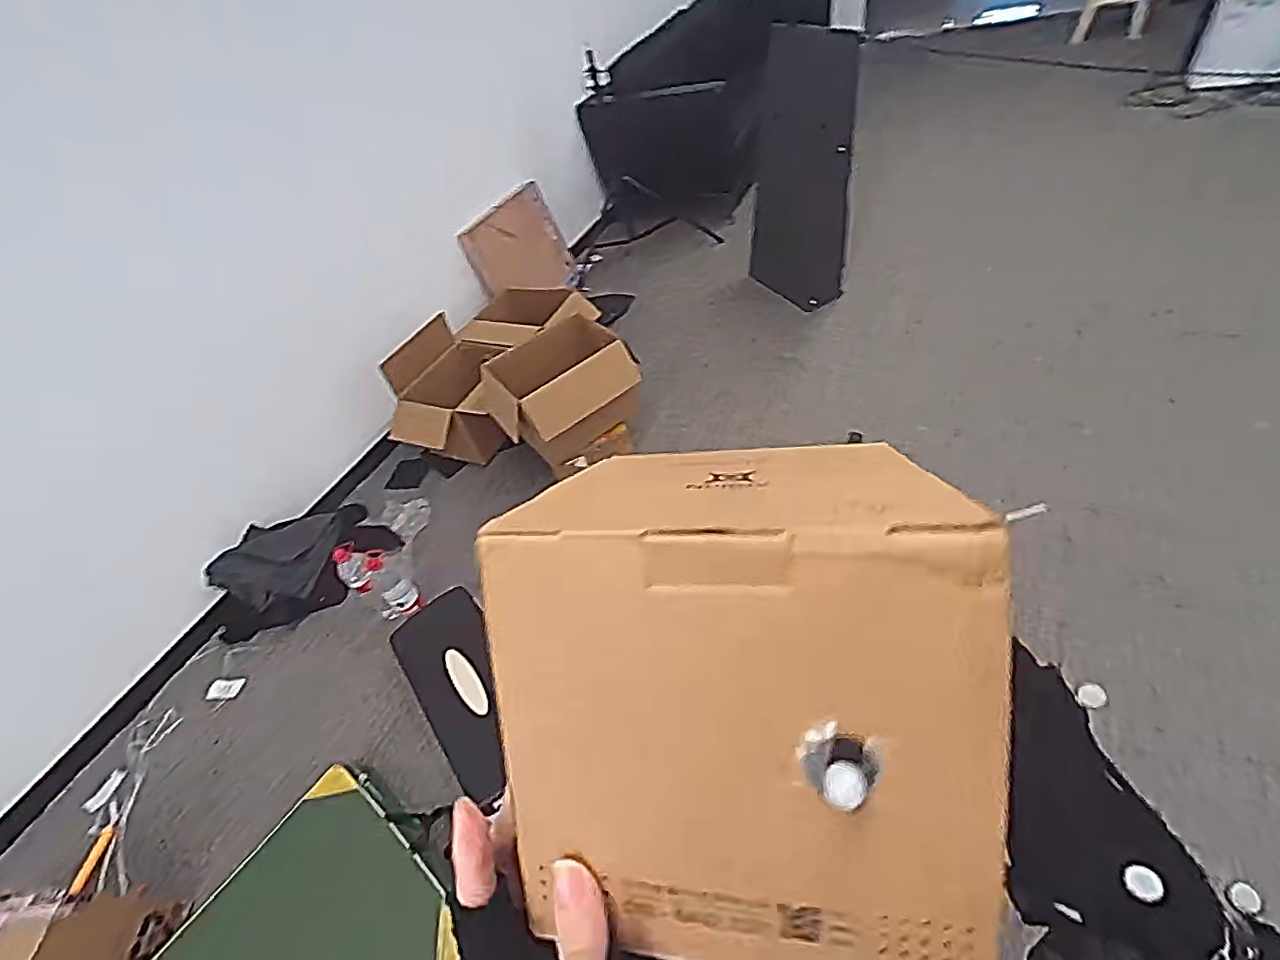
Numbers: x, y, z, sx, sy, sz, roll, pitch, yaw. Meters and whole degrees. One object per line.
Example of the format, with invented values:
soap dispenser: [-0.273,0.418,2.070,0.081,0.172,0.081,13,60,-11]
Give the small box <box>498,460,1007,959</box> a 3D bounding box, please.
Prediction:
small box: [0.054,0.089,0.264,0.168,0.176,0.179,-2,8,13]
